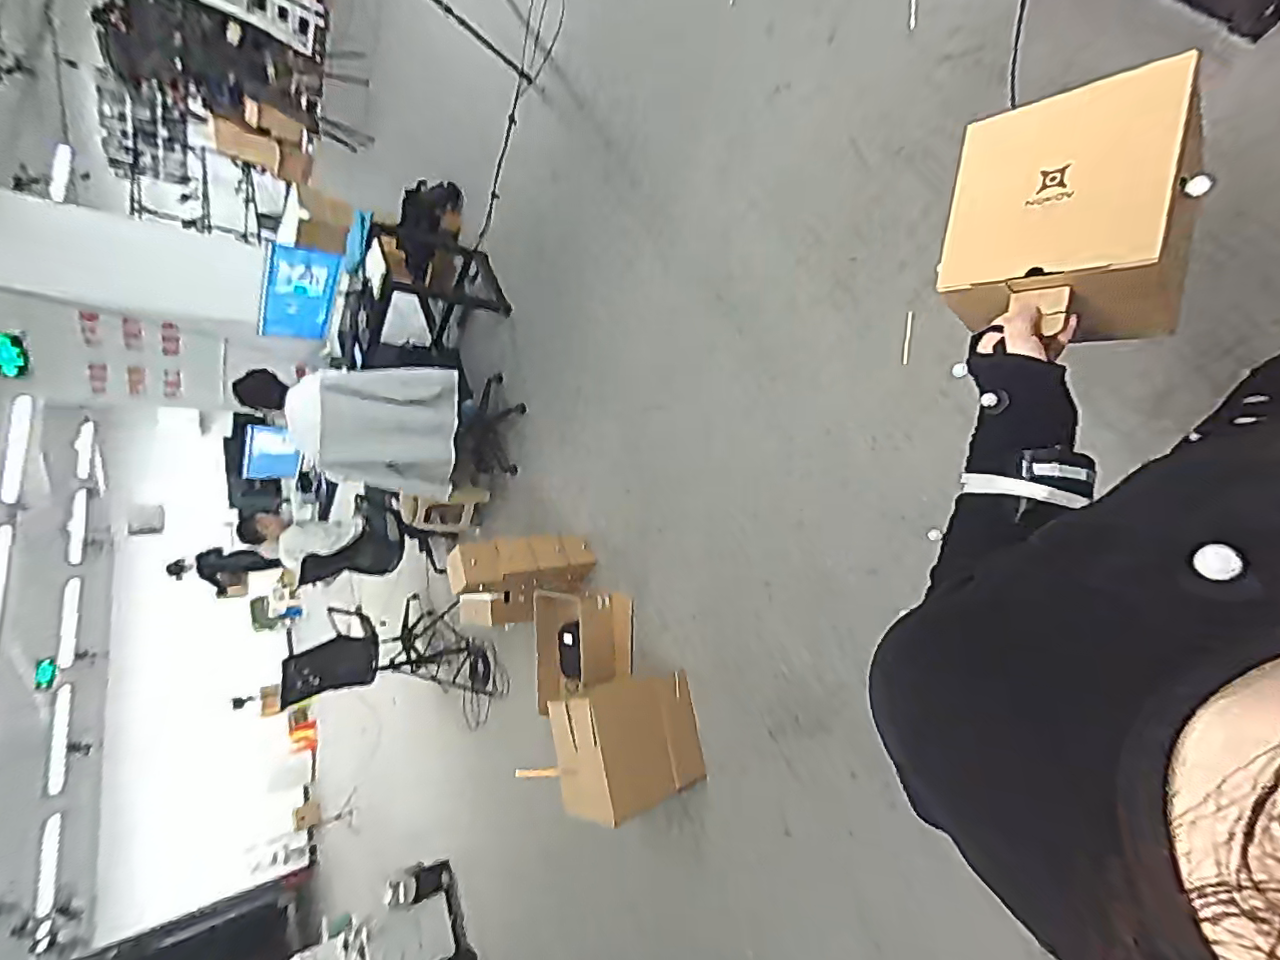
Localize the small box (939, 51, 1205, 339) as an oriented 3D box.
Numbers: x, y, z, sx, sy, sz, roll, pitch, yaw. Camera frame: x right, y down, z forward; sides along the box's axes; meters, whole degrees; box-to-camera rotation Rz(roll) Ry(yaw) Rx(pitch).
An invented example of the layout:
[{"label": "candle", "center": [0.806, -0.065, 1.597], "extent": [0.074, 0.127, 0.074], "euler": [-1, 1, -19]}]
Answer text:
[{"label": "small box", "center": [0.428, -0.256, 0.539], "extent": [0.168, 0.176, 0.179], "euler": [11, 89, 47]}]
